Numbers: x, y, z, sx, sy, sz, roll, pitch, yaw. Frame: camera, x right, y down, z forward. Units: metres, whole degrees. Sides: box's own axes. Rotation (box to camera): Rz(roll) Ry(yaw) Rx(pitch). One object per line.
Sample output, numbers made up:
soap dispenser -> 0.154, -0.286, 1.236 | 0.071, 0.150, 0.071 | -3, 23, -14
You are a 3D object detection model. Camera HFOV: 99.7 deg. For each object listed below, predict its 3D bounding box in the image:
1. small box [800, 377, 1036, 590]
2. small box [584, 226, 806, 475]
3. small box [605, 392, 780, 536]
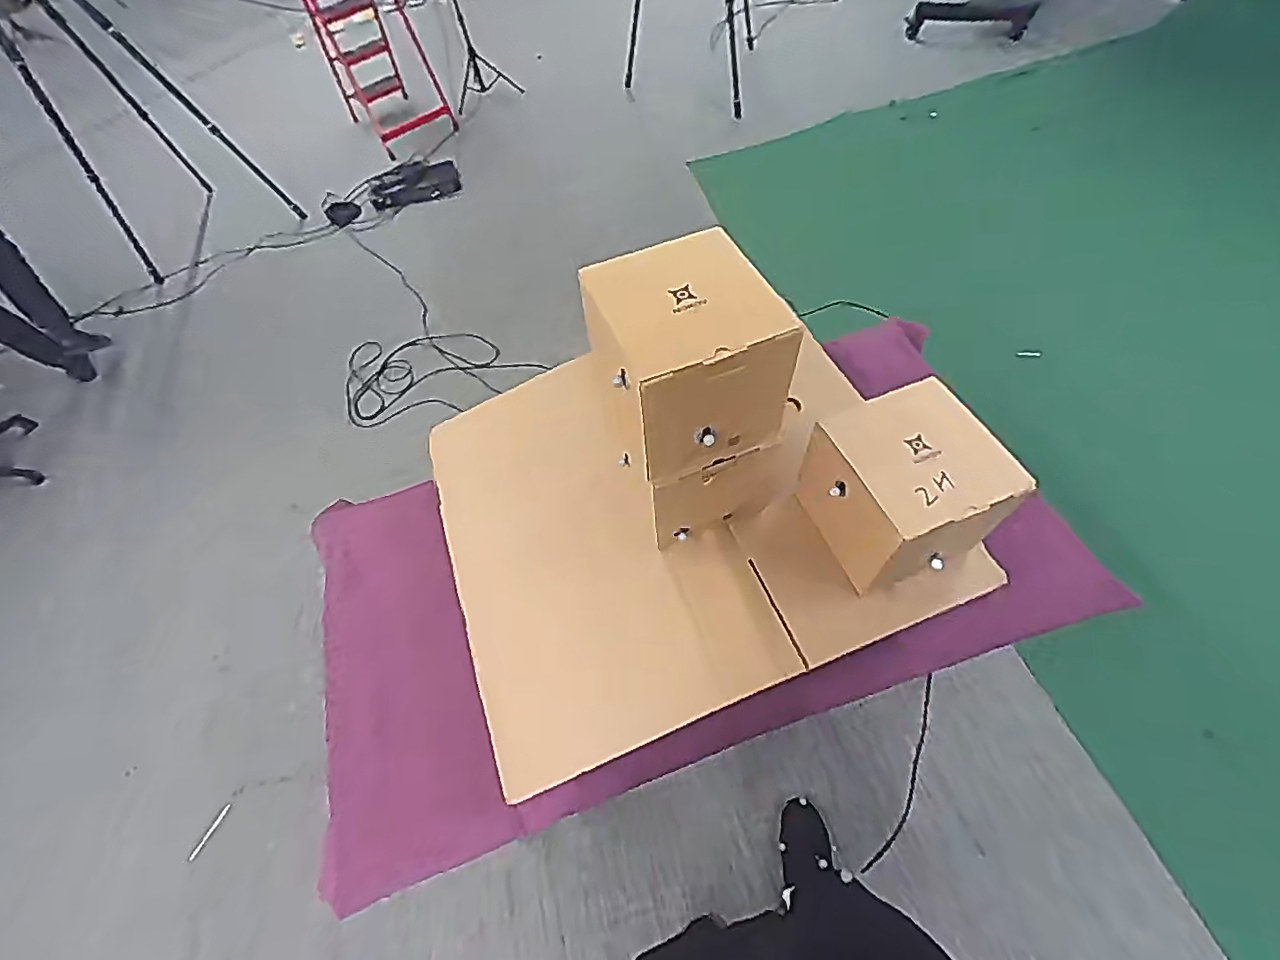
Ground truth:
small box -> 0.319, 0.009, 0.669 | 0.168, 0.176, 0.179 | -20, 59, -7
small box -> 0.050, -0.136, 0.590 | 0.168, 0.176, 0.179 | -21, 60, -9
small box -> 0.065, -0.045, 0.723 | 0.168, 0.176, 0.179 | -20, 58, -9
